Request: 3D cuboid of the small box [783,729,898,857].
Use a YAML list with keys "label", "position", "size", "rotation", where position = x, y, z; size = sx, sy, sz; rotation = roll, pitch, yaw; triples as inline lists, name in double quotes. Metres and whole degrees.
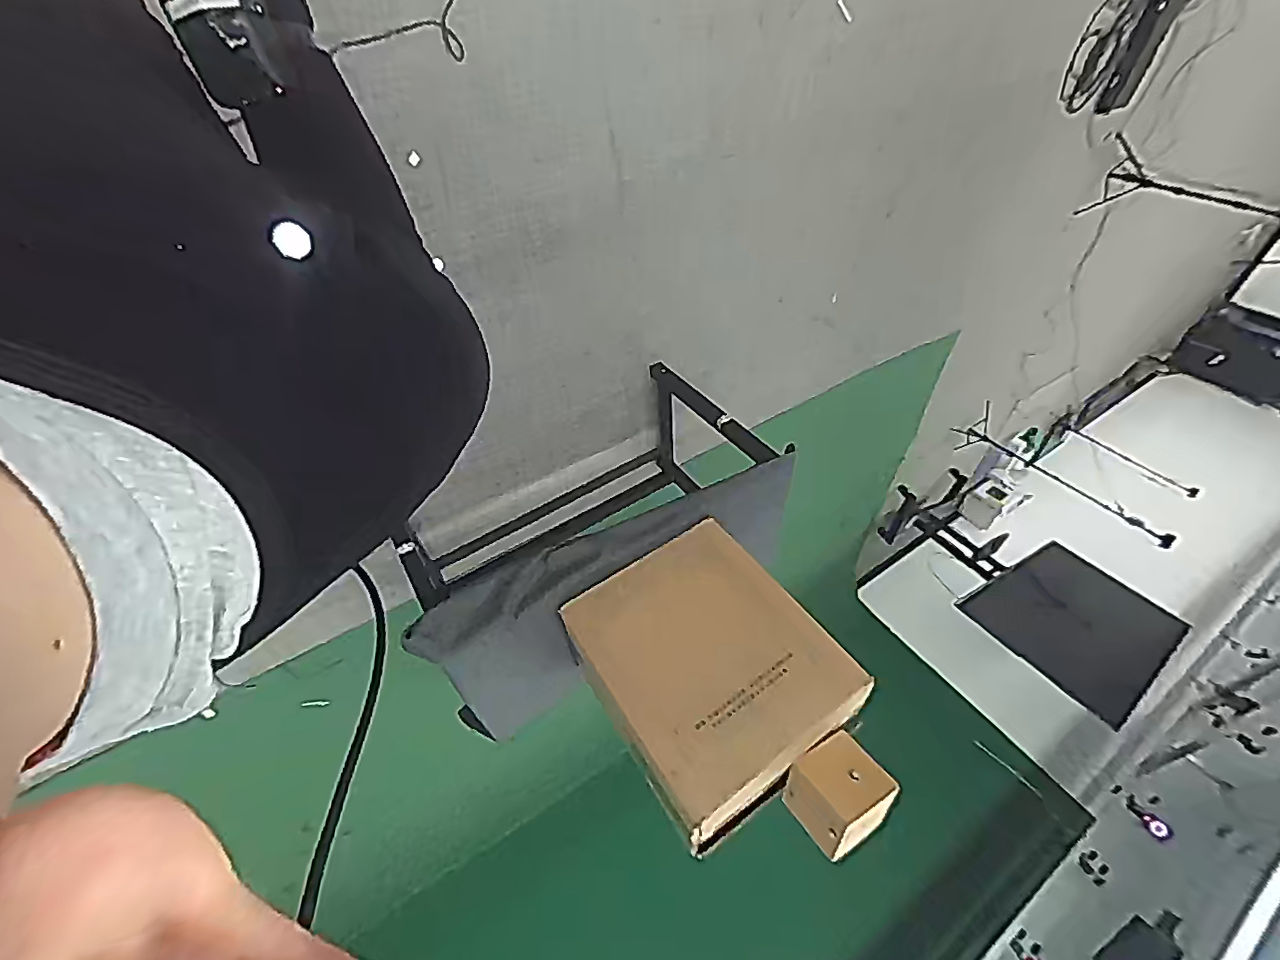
- label: "small box"
  position: [0.474, 0.740, 1.298]
  size: [0.179, 0.176, 0.168]
  rotation: [-17, 126, -27]
